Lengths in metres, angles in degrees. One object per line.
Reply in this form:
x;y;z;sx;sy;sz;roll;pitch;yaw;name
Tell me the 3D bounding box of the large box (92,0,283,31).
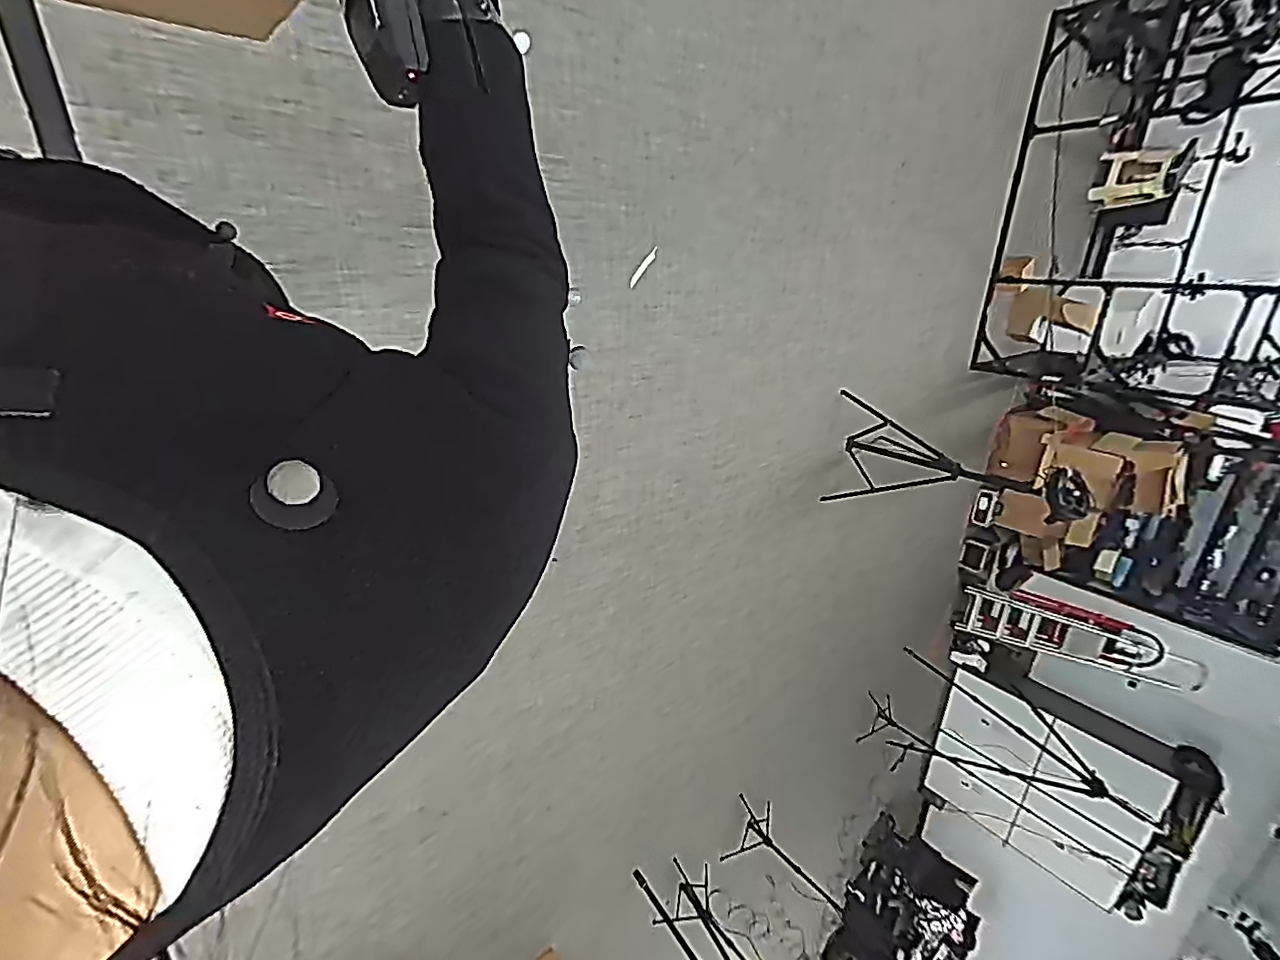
-0.404;-0.447;0.222;0.408;0.320;0.320;-17;125;-37;large box
